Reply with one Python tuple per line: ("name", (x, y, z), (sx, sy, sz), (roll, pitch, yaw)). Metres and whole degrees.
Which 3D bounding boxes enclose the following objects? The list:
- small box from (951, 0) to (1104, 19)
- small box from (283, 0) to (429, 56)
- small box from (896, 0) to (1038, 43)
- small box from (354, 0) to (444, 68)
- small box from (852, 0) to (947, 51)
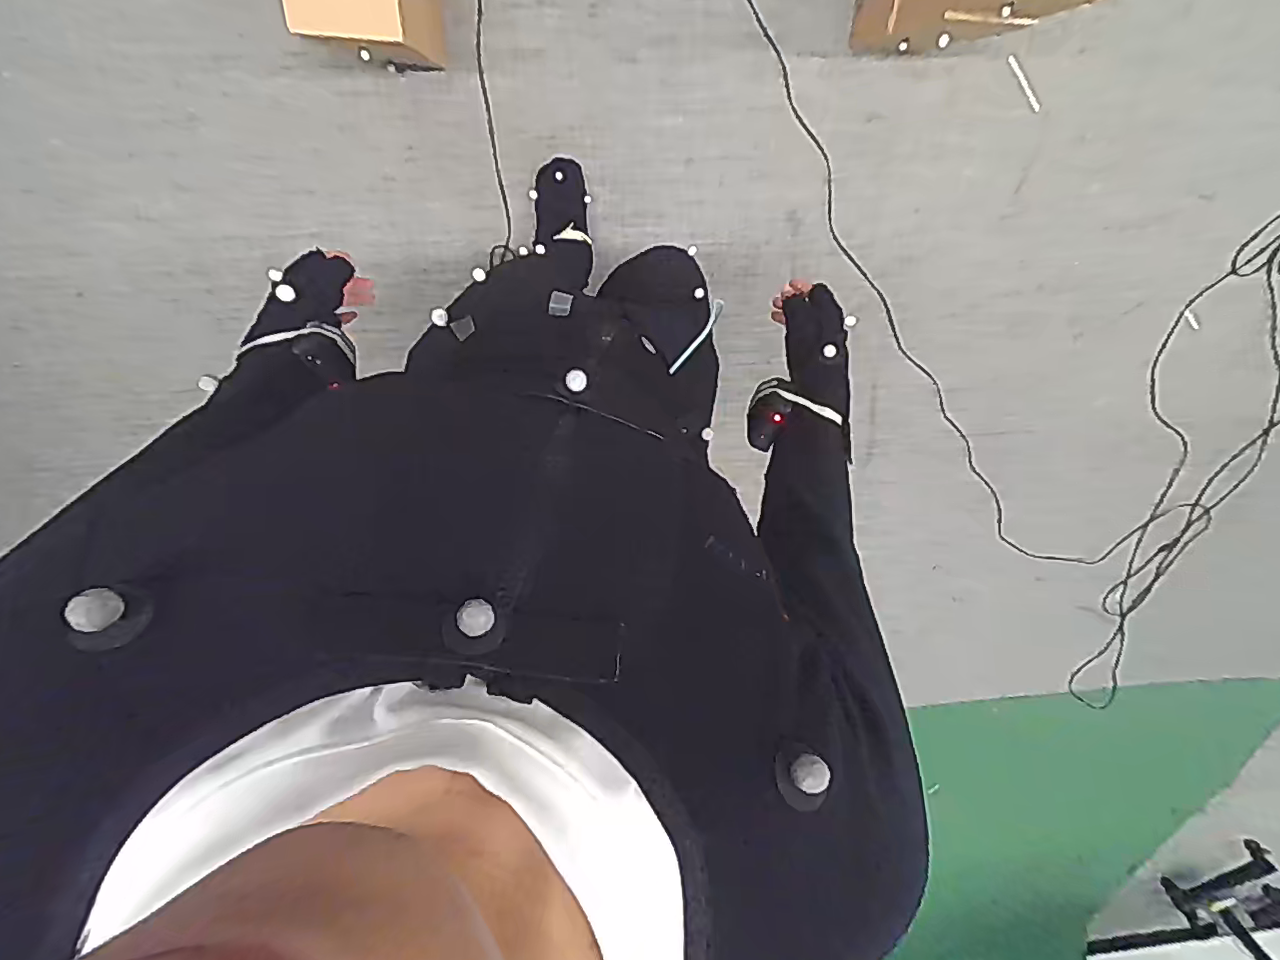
("small box", (0.569, -0.770, 0.744), (0.168, 0.176, 0.179), (-1, 122, -6))
("small box", (-0.435, -0.775, 0.830), (0.168, 0.176, 0.179), (1, 121, -6))
("small box", (0.553, -0.847, 0.887), (0.168, 0.176, 0.179), (-1, 122, -6))
("small box", (-0.451, -0.856, 0.953), (0.168, 0.176, 0.179), (2, 121, -7))
("small box", (0.530, -0.933, 1.025), (0.179, 0.176, 0.168), (-1, 122, -6))
